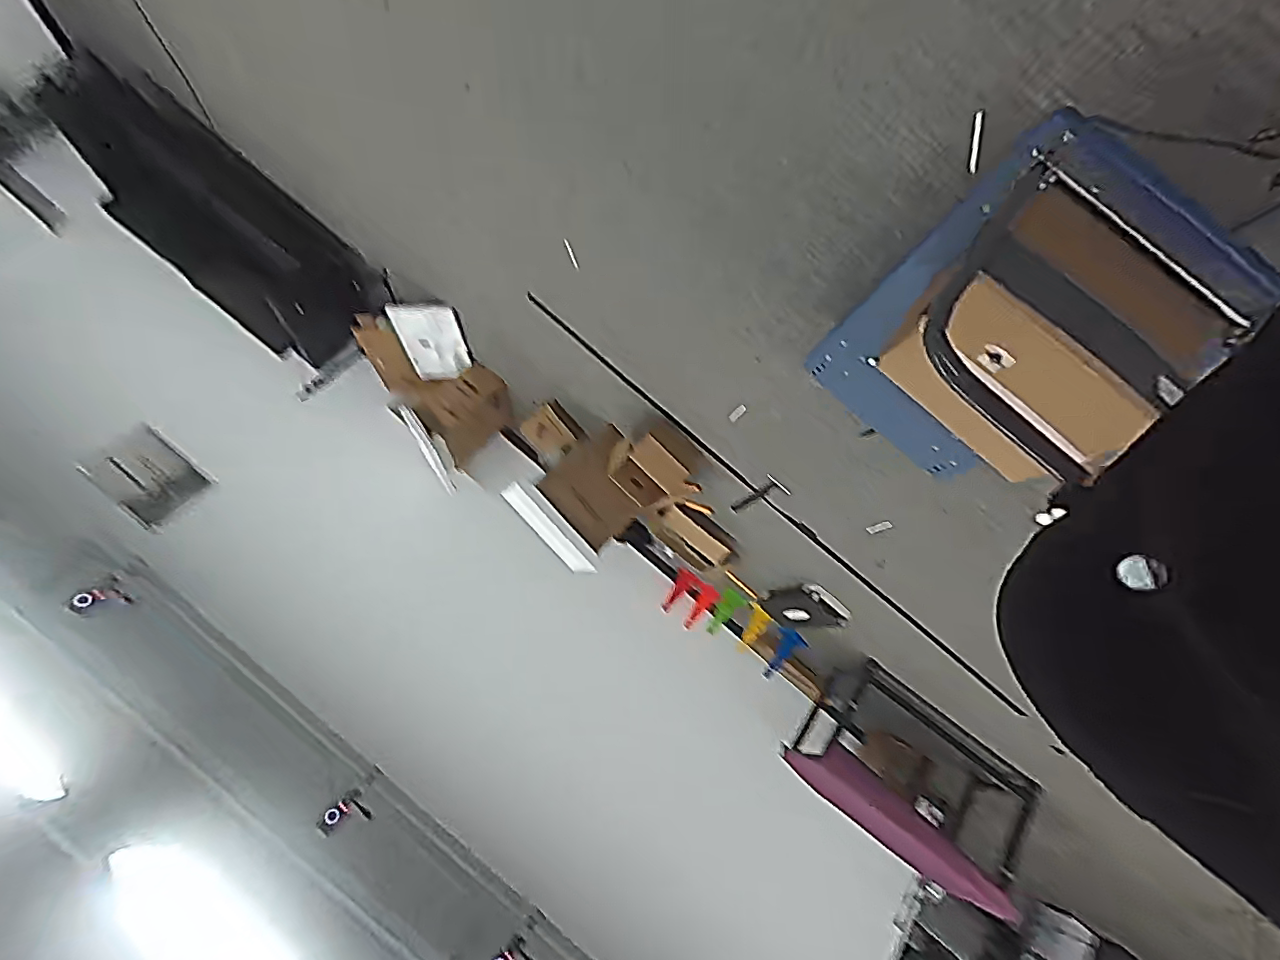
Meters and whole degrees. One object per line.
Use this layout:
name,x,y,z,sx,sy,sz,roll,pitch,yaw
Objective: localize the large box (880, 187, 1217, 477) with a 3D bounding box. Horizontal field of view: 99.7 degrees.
large box,0.798,-0.281,1.088,0.408,0.320,0.320,42,156,2
